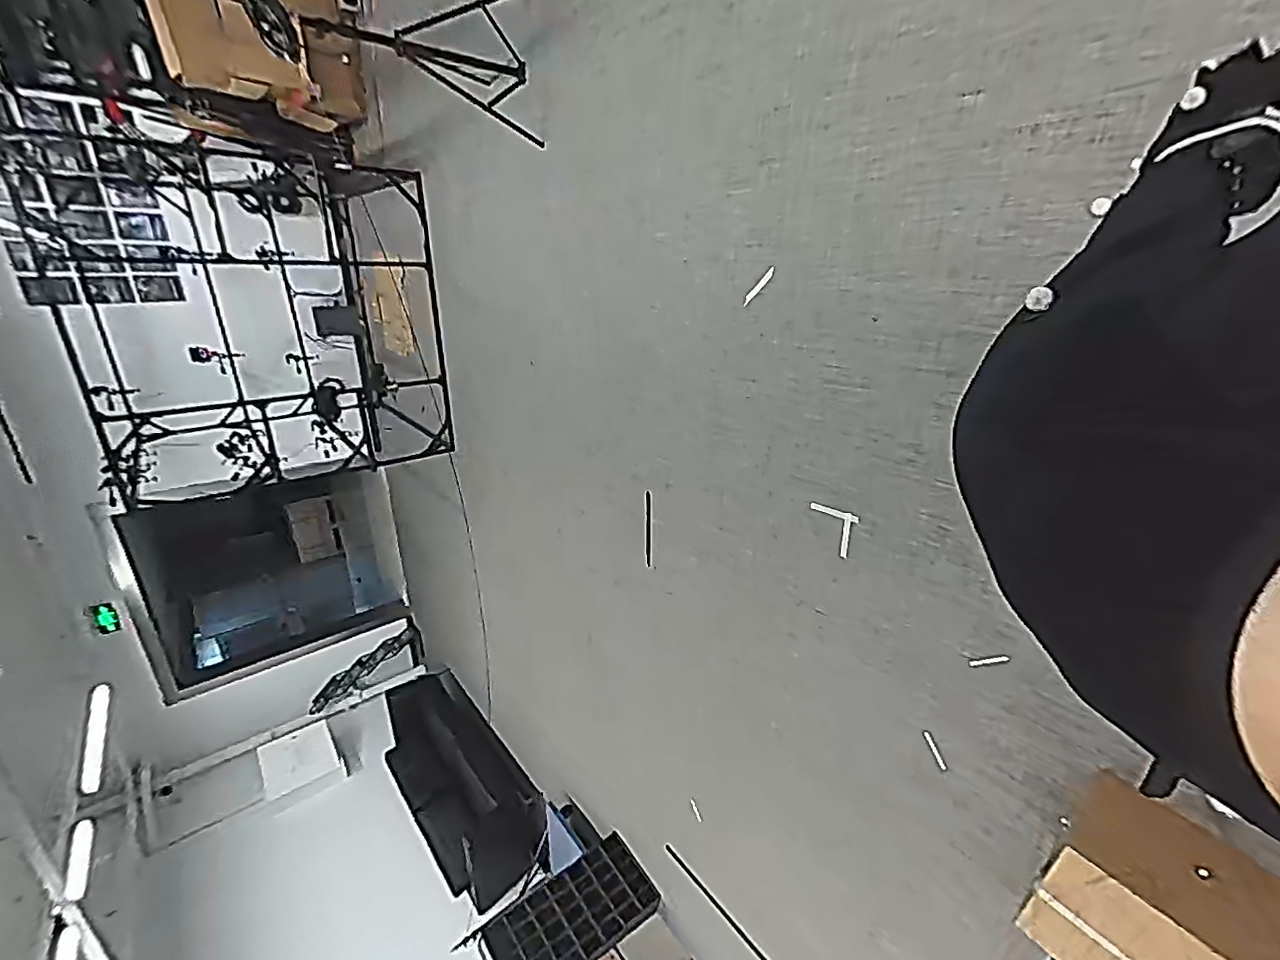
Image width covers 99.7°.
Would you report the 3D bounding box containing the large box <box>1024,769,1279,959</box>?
[{"bbox_3d":[1.158,0.945,1.179,0.408,0.320,0.320,30,126,42],"label":"large box"}]
